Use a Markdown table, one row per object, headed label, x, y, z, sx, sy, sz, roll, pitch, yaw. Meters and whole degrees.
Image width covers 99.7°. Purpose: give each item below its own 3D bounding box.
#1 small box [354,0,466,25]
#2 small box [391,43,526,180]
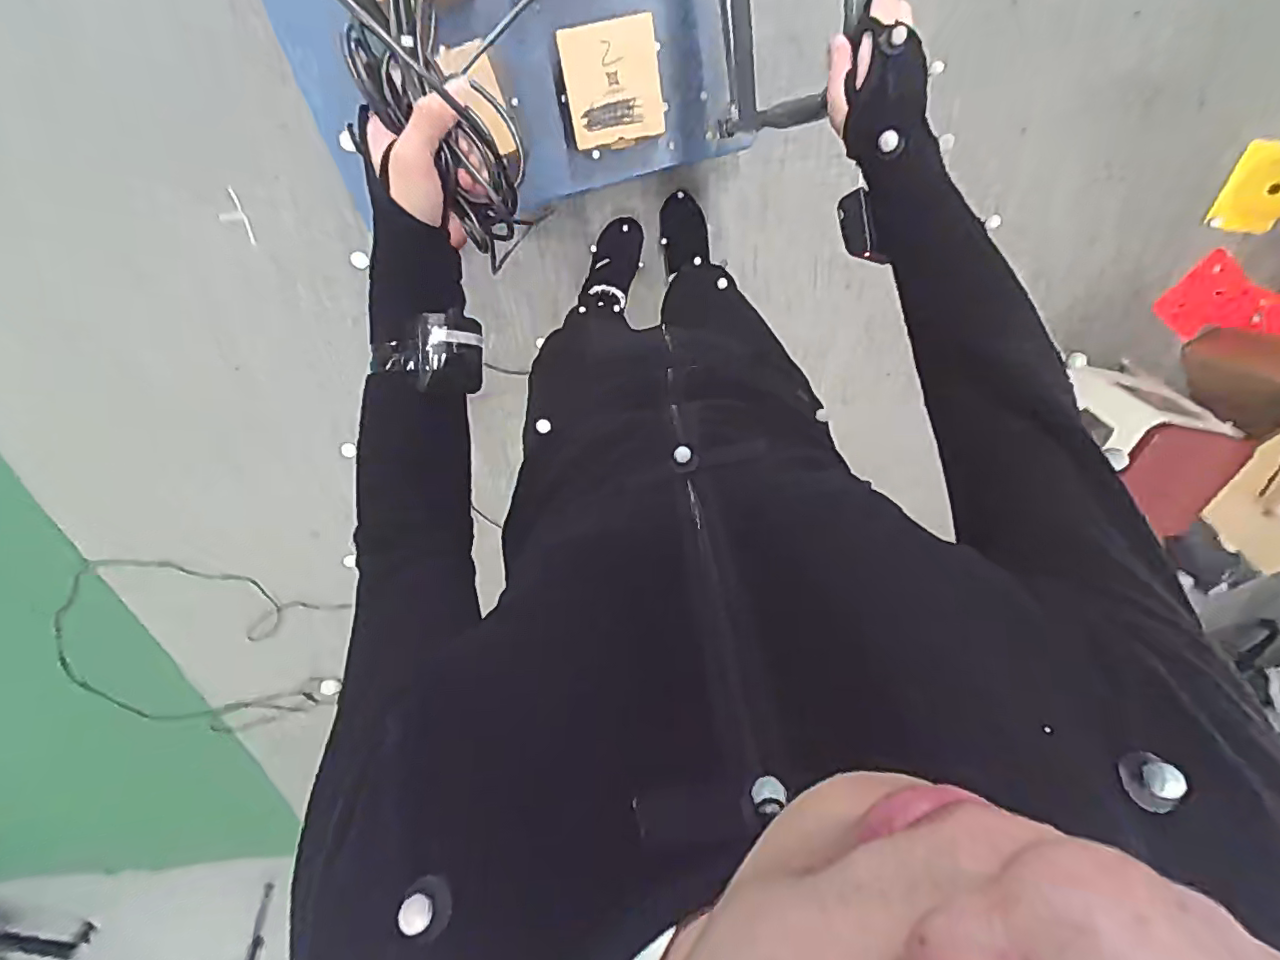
| label | x | y | z | sx | sy | sz | roll | pitch | yaw |
| --- | --- | --- | --- | --- | --- | --- | --- | --- | --- |
| small box | -0.397 | -0.888 | 0.889 | 0.179 | 0.176 | 0.168 | -16 | 122 | 5 |
| small box | -0.325 | -0.684 | 1.017 | 0.179 | 0.176 | 0.168 | -16 | 120 | 6 |
